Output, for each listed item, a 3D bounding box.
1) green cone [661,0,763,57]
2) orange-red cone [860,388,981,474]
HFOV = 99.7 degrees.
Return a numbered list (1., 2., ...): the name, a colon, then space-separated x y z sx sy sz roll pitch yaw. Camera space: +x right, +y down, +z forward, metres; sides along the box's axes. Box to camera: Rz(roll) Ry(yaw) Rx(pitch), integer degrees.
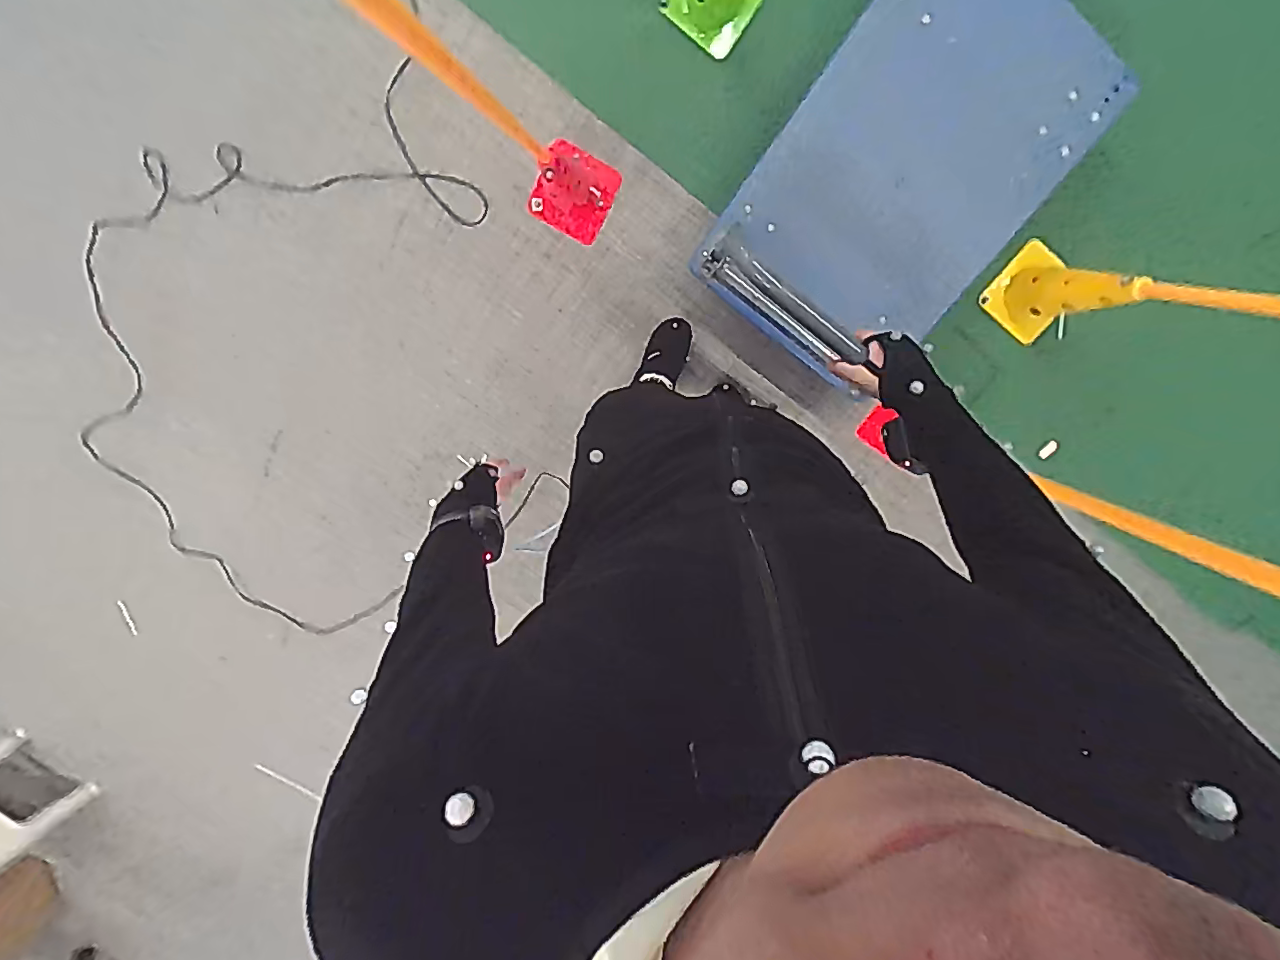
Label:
1. green cone: 0.168 -1.092 1.100 0.200 0.368 0.202 36 104 -7
2. orange-red cone: 0.748 -0.090 1.374 0.198 0.360 0.199 36 103 -9
